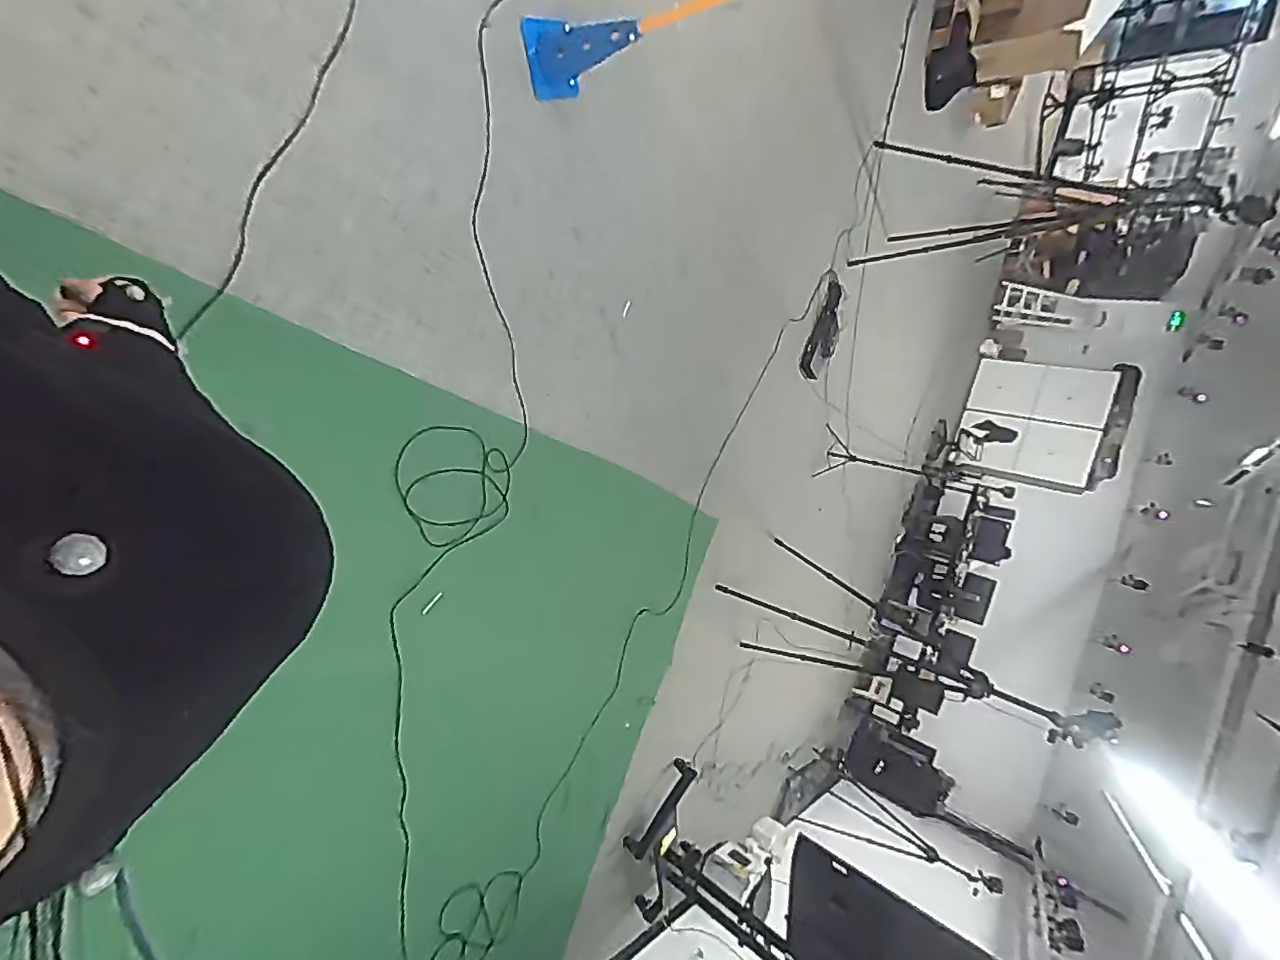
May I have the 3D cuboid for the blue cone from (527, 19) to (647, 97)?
[{"bbox_3d":[-0.139,-1.276,1.581,0.193,0.380,0.192,-41,132,-39],"label":"blue cone"}]
